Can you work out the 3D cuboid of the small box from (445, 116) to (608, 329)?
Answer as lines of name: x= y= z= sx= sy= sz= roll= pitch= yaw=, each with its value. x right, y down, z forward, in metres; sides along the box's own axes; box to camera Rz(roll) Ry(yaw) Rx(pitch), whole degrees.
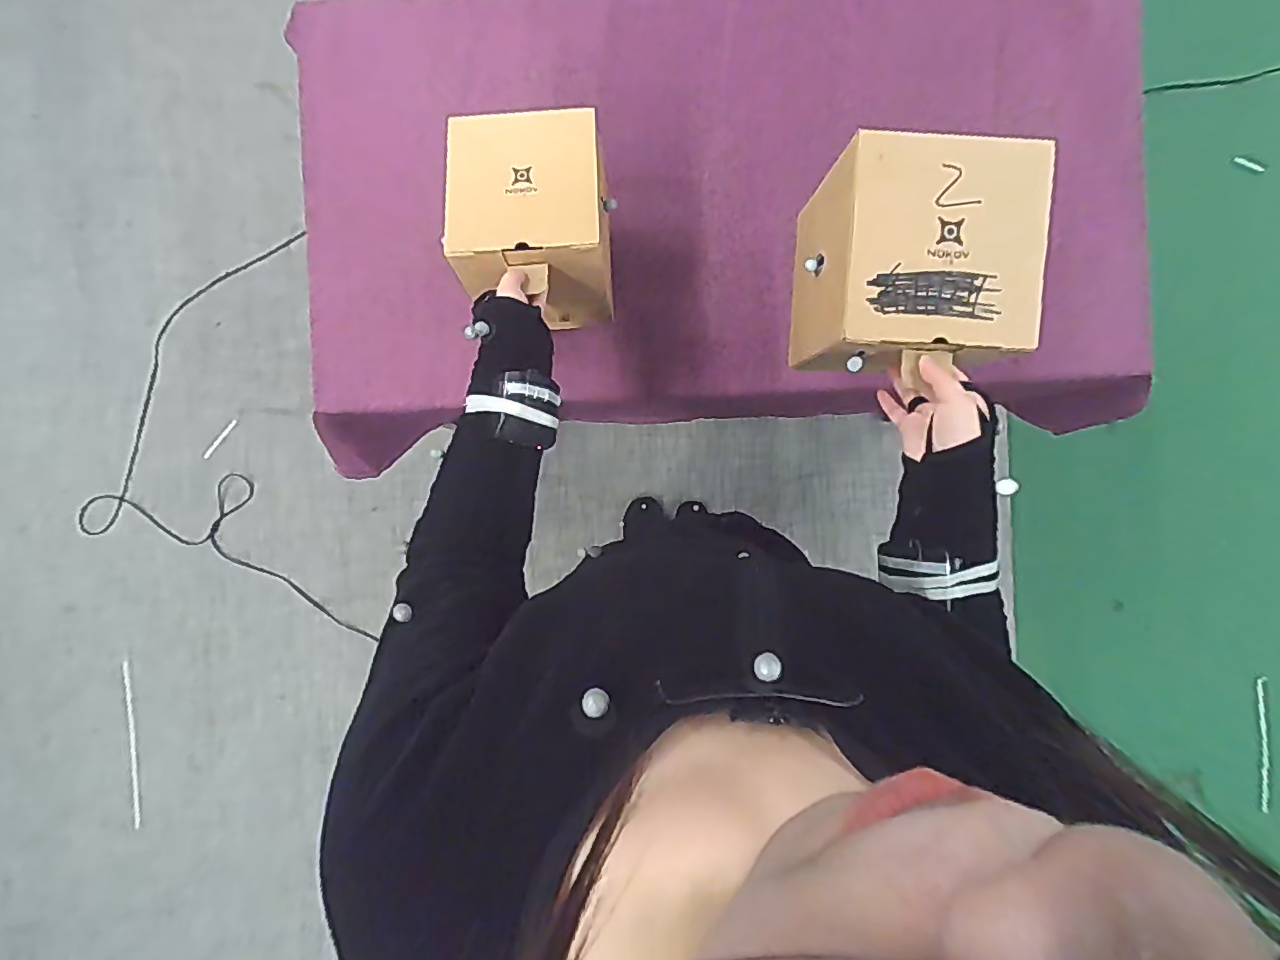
small box: x=-0.129 y=-0.310 z=0.675 sx=0.168 sy=0.176 sz=0.179 roll=-3 pitch=78 yaw=1
